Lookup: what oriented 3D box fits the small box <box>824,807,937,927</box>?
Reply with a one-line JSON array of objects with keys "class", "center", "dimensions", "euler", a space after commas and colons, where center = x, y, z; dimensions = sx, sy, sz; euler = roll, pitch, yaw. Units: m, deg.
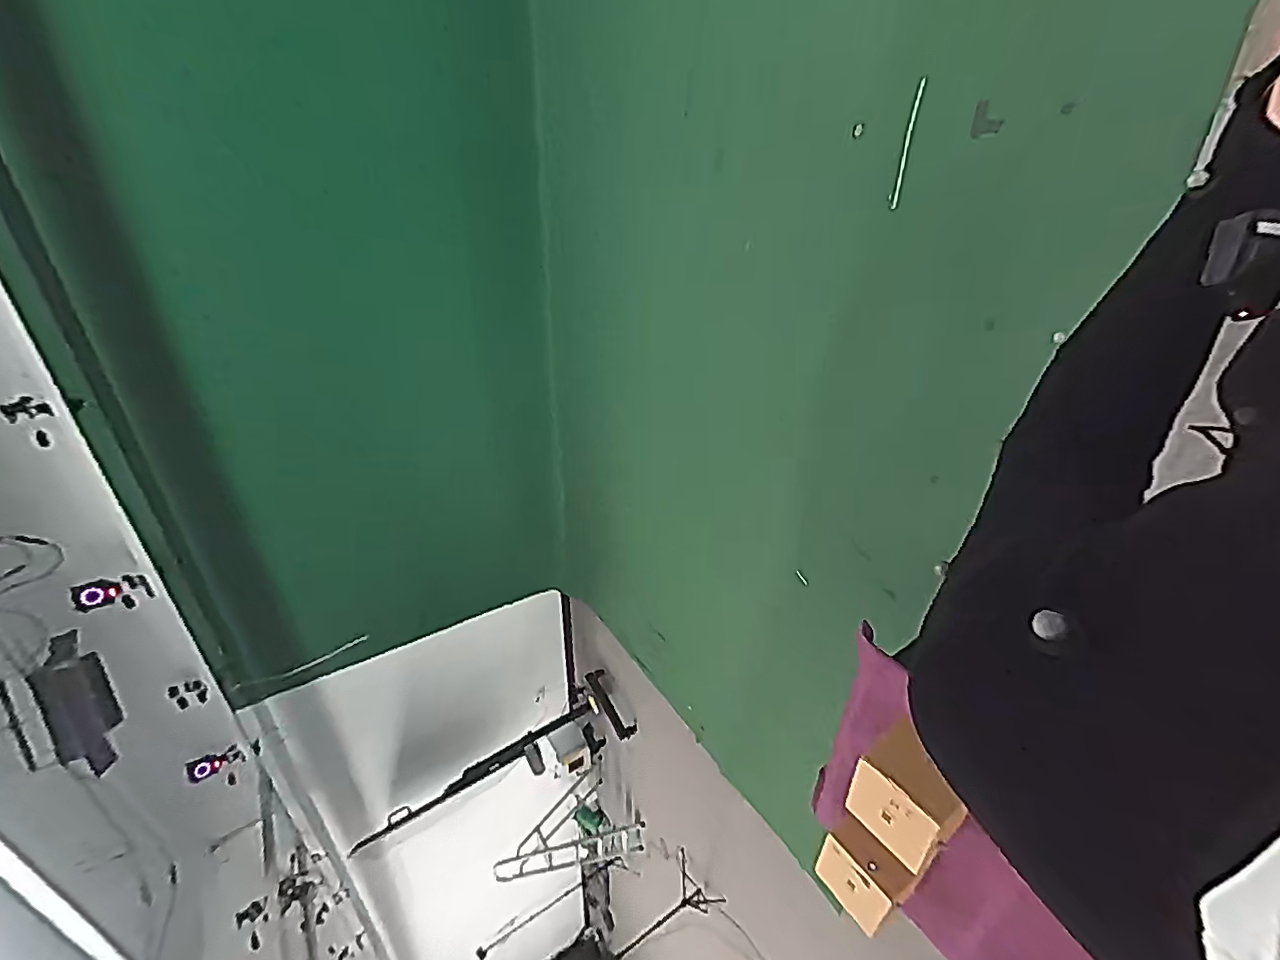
[{"class": "small box", "center": [0.568, 0.888, 1.279], "dimensions": [0.168, 0.176, 0.179], "euler": [36, 135, 43]}]

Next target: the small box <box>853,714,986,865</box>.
[{"class": "small box", "center": [0.575, 0.630, 1.116], "dimensions": [0.168, 0.176, 0.179], "euler": [33, 133, 44]}]
